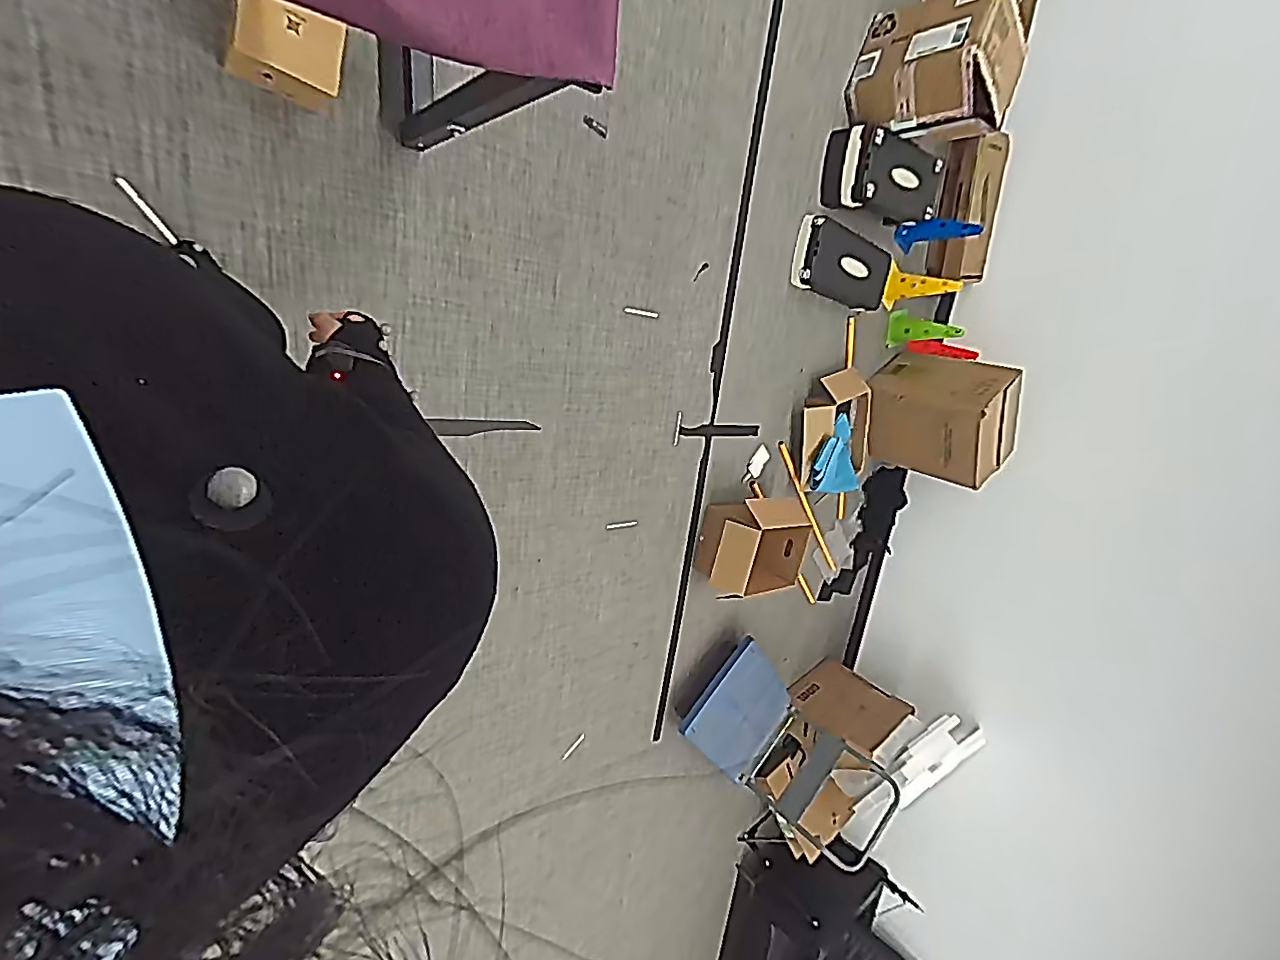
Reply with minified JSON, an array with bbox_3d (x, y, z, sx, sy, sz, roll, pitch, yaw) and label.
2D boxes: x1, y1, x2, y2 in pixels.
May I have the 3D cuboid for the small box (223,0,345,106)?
[{"bbox_3d":[-0.689,-0.864,1.041,0.168,0.176,0.179,5,103,-43],"label":"small box"}]
